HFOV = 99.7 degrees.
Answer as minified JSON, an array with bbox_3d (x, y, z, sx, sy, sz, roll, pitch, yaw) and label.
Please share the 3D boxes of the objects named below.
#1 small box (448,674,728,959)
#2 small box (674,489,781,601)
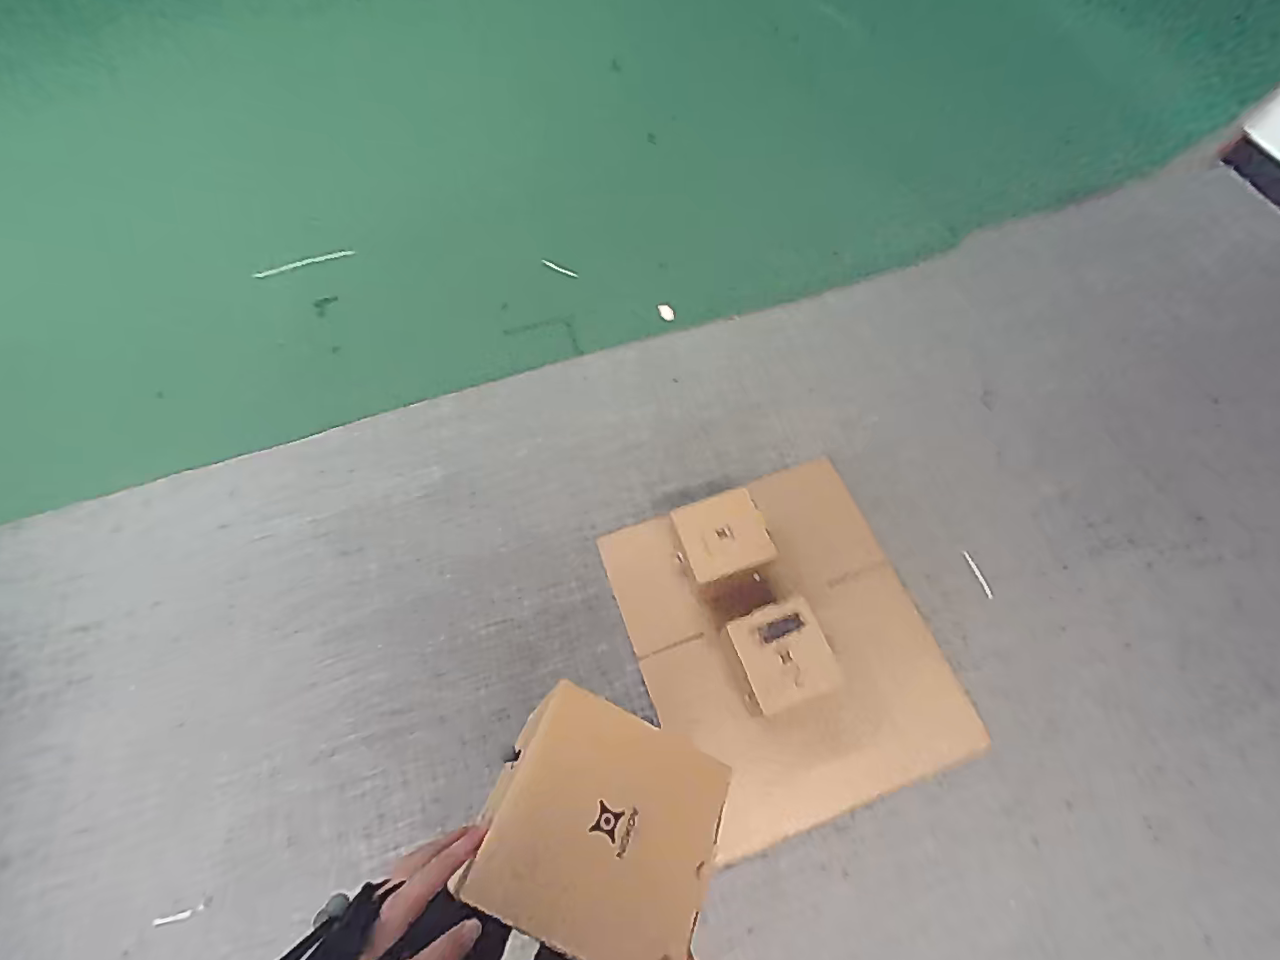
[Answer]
[{"bbox_3d":[-0.052,0.307,0.482,0.179,0.176,0.168,29,51,-3],"label":"small box"},{"bbox_3d":[0.180,0.147,1.175,0.179,0.176,0.168,-19,65,-4],"label":"small box"}]
